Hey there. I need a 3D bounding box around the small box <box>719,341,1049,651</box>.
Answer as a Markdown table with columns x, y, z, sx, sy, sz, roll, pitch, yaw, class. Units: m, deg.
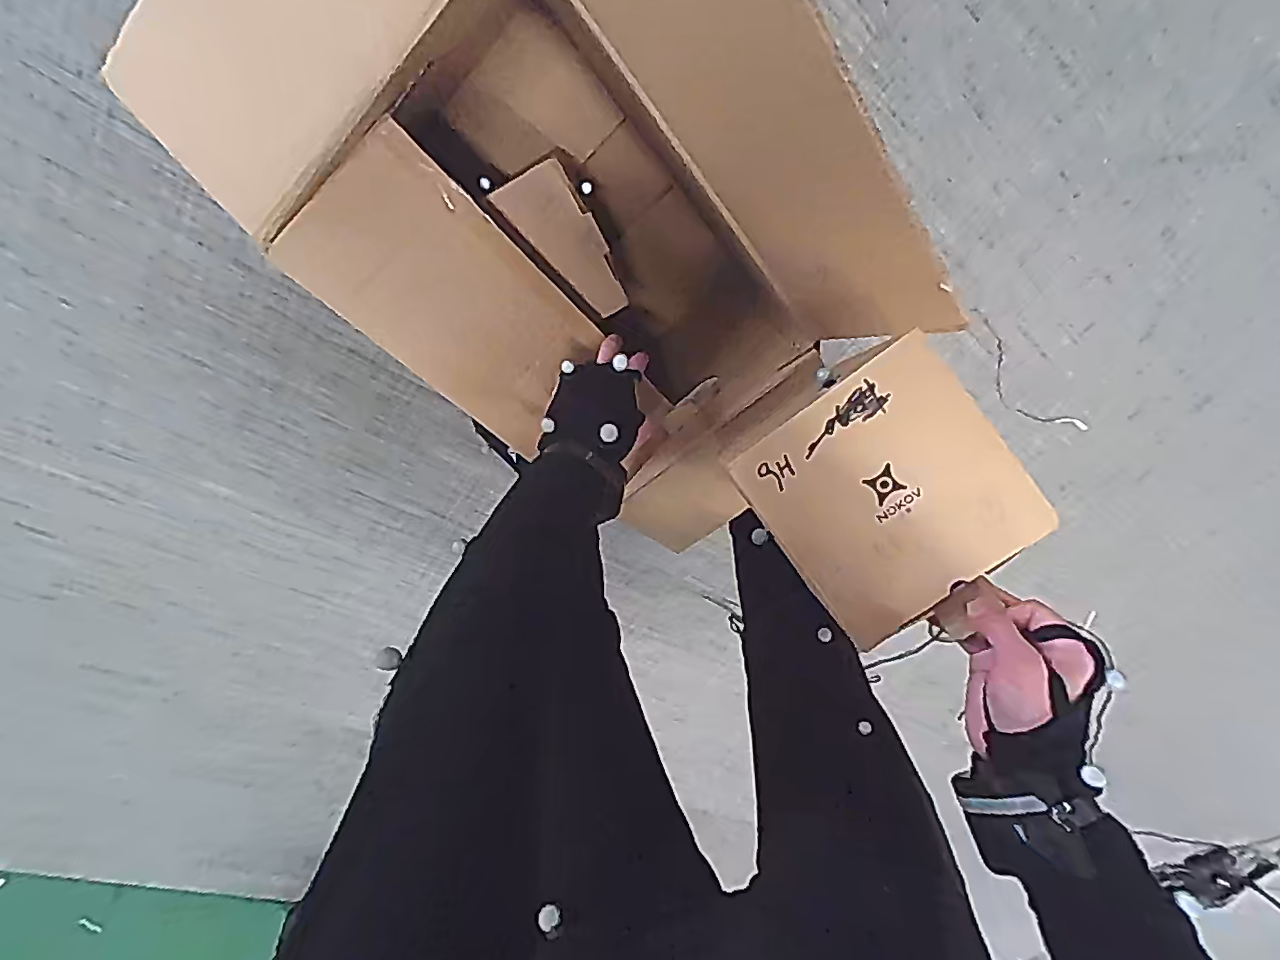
| x | y | z | sx | sy | sz | roll | pitch | yaw | class |
| --- | --- | --- | --- | --- | --- | --- | --- | --- | --- |
| 0.187 | 0.007 | 0.474 | 0.168 | 0.176 | 0.179 | -39 | 89 | 9 | small box |
